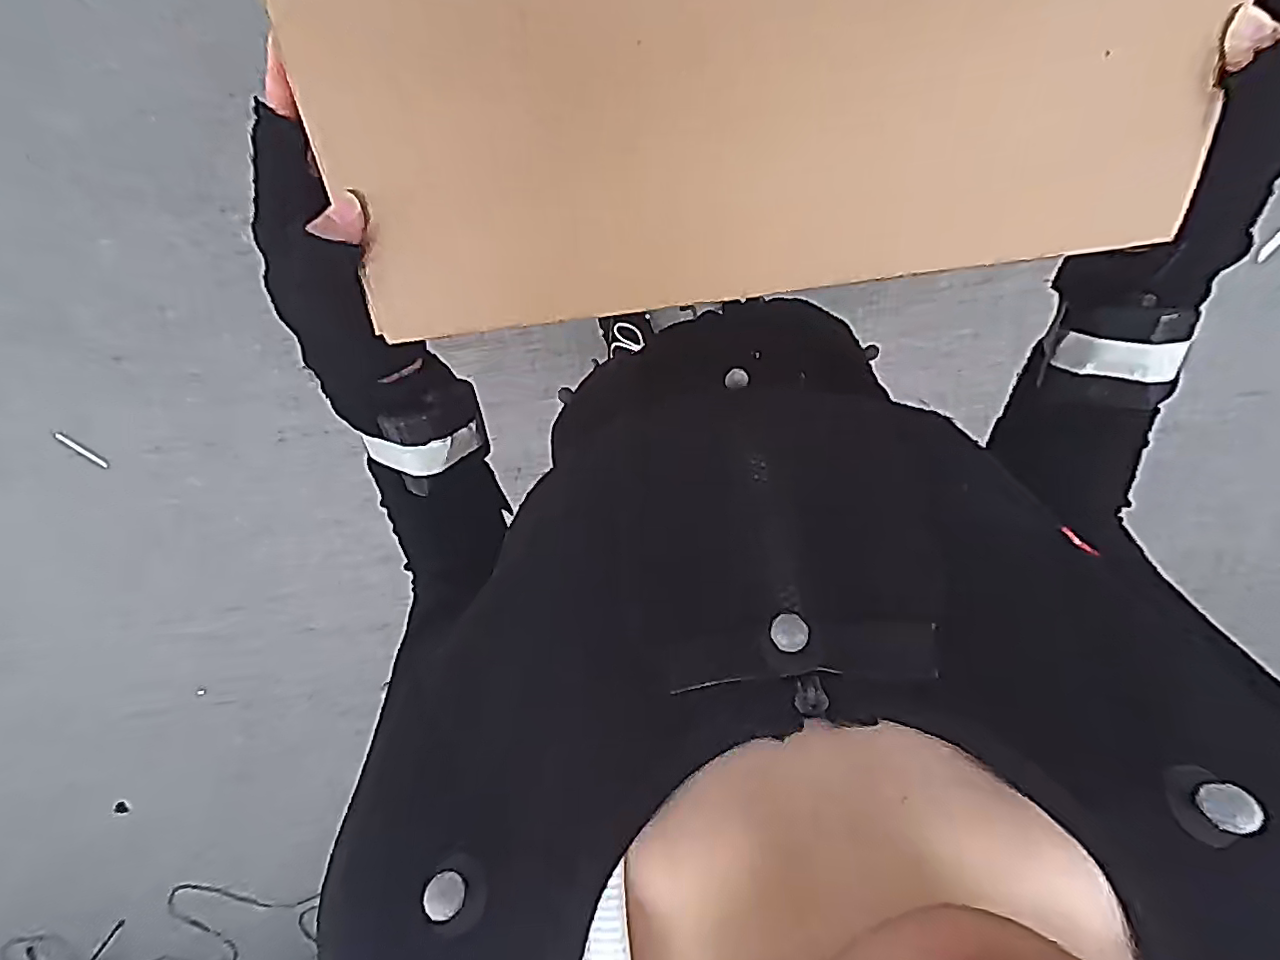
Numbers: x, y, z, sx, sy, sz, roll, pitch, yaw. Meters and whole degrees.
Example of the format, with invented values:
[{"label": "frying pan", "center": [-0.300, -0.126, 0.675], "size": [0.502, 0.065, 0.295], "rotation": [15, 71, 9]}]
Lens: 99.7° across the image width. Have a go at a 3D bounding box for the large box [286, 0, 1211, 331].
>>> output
[{"label": "large box", "center": [0.039, -0.309, 0.348], "size": [0.408, 0.320, 0.320], "rotation": [-7, 119, 2]}]
